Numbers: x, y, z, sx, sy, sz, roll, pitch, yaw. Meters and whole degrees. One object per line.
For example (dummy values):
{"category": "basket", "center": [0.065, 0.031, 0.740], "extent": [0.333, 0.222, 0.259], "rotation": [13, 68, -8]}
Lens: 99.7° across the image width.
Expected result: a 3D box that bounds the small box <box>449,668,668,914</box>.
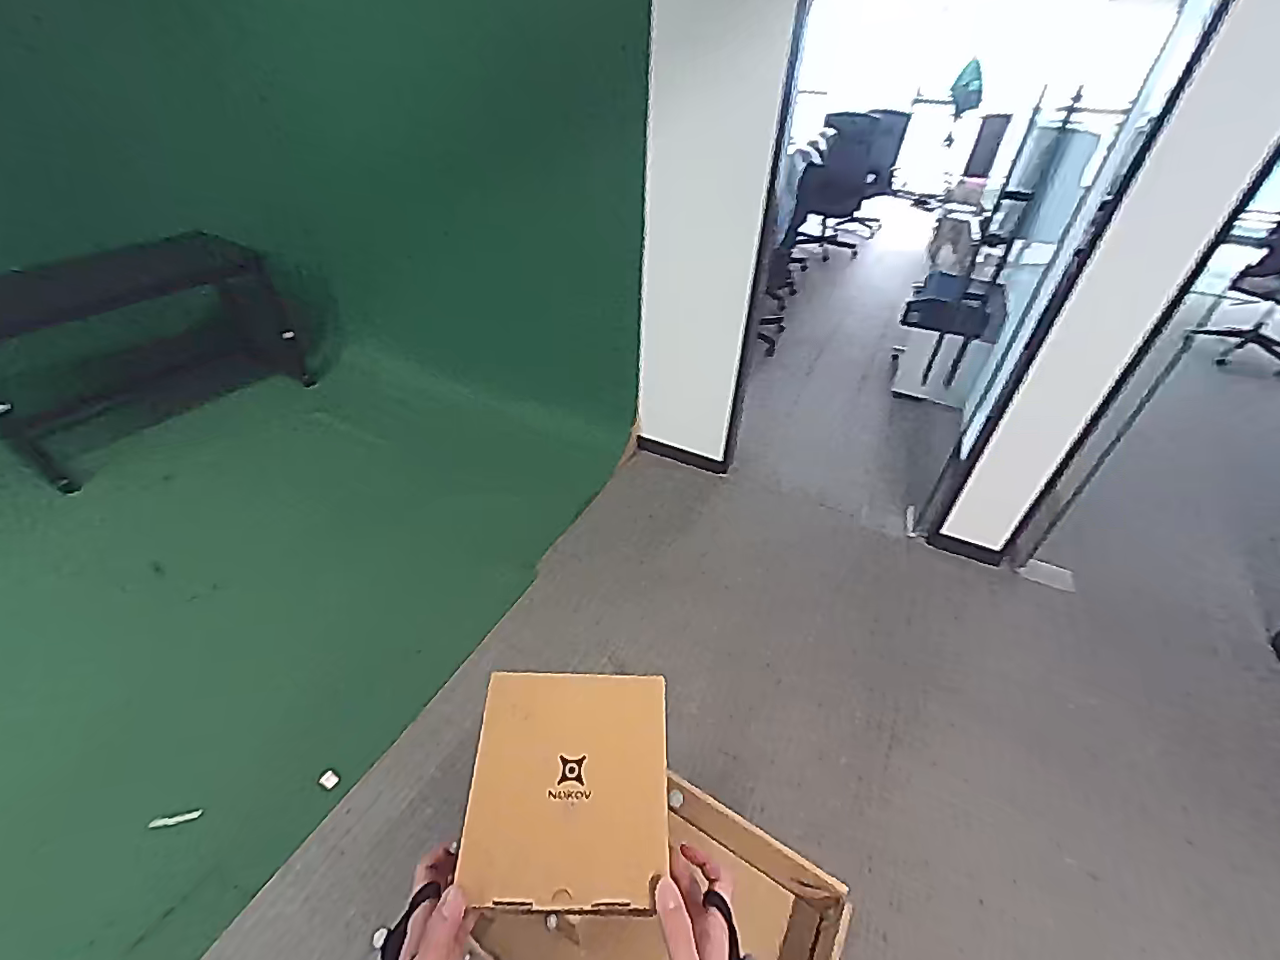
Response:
{"category": "small box", "center": [-0.067, 0.297, 0.514], "extent": [0.168, 0.176, 0.179], "rotation": [3, 51, -4]}
